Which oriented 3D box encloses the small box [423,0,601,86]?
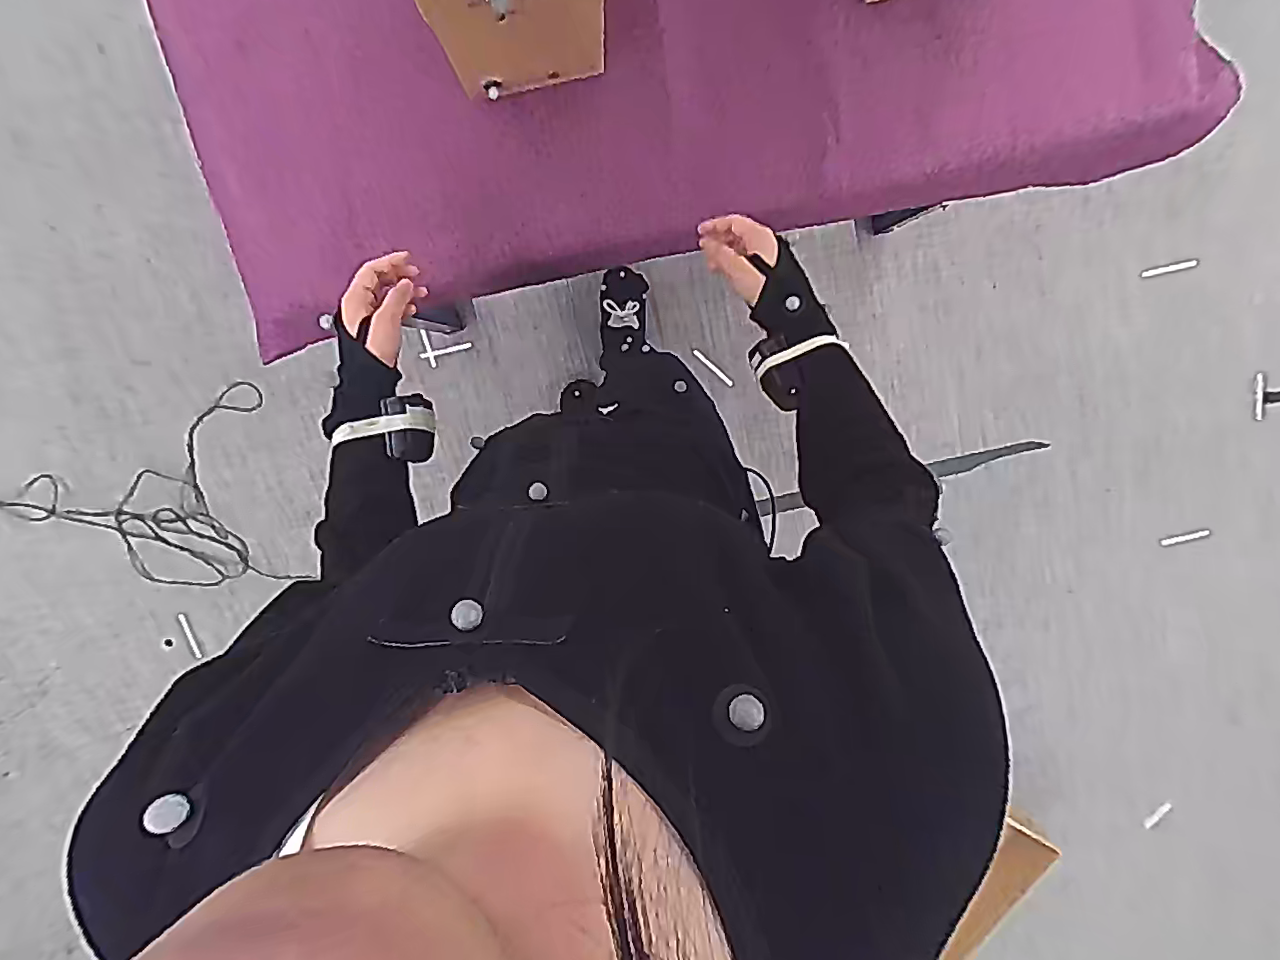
[{"bbox_3d":[-0.135,-0.535,0.545,0.168,0.176,0.179,-13,102,-1],"label":"small box"}]

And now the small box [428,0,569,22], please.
[{"bbox_3d":[-0.120,-0.490,0.389,0.168,0.176,0.179,-13,104,0],"label":"small box"}]
